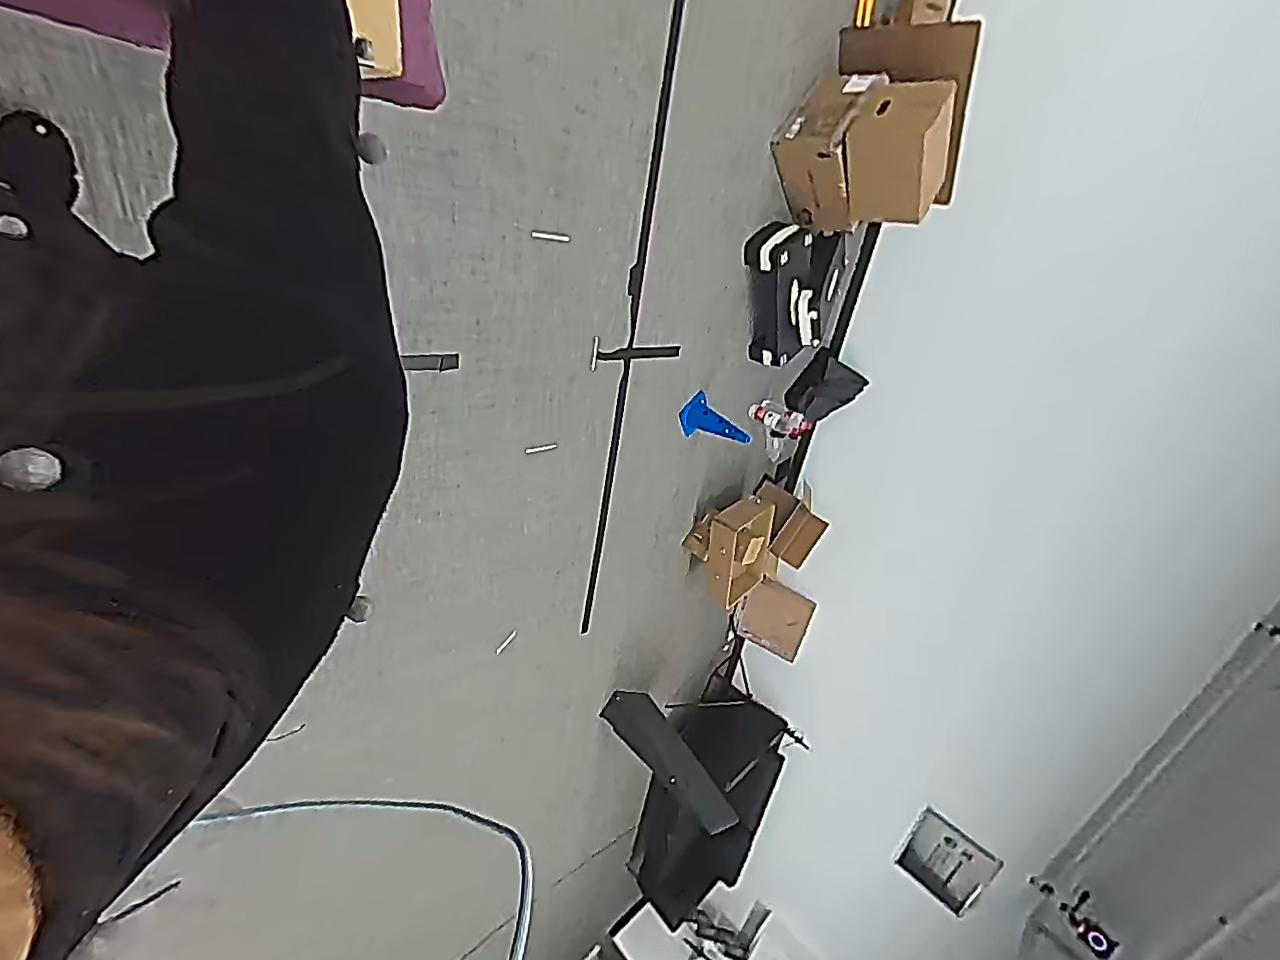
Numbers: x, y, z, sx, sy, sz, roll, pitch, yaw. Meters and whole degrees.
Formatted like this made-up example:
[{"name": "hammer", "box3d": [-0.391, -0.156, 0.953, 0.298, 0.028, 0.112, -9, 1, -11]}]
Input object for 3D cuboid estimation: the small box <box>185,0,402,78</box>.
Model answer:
[{"name": "small box", "box3d": [-0.367, -0.542, 0.558, 0.168, 0.176, 0.179, -18, 128, -40]}]
